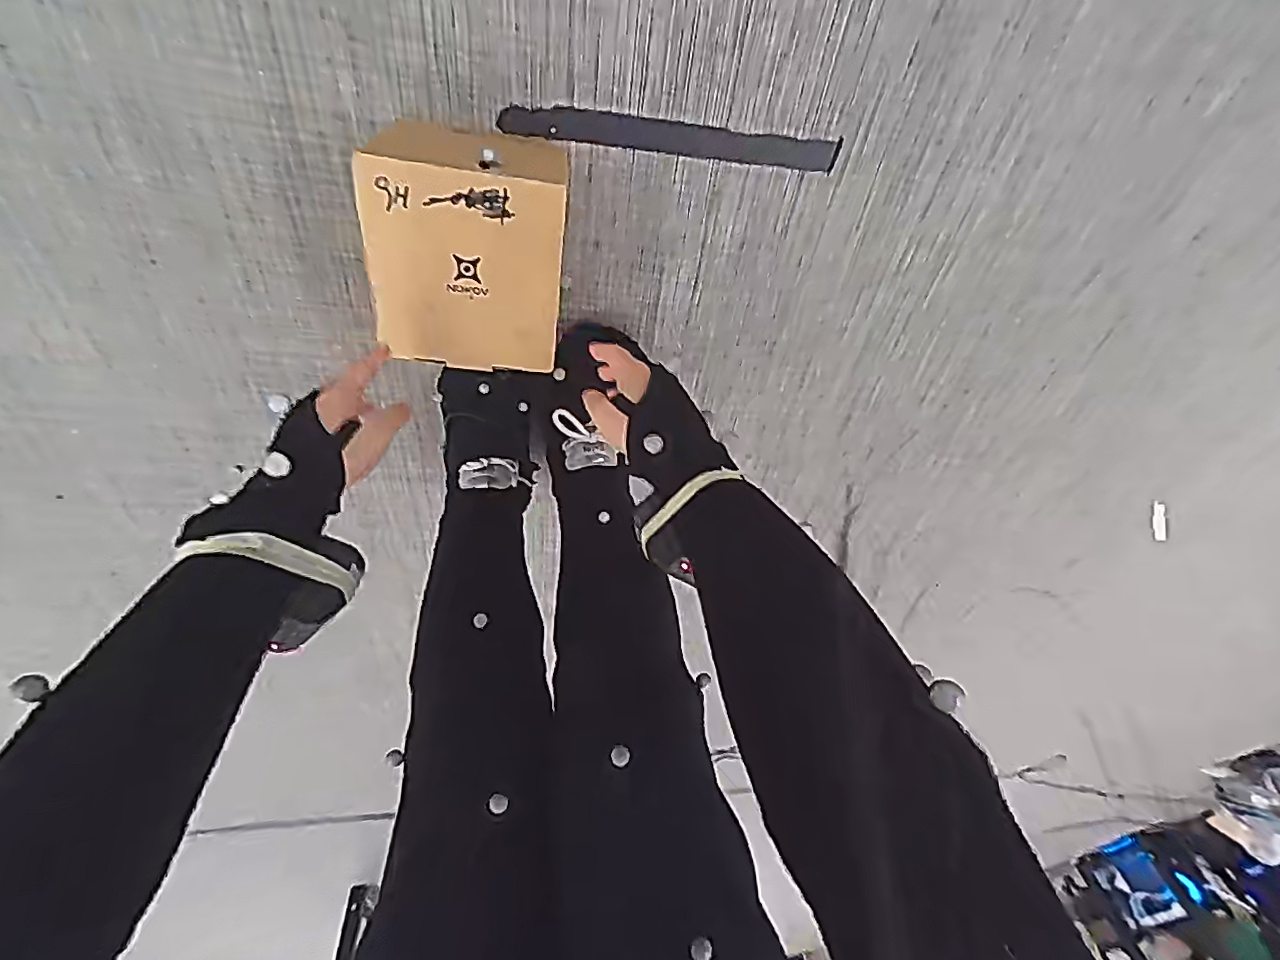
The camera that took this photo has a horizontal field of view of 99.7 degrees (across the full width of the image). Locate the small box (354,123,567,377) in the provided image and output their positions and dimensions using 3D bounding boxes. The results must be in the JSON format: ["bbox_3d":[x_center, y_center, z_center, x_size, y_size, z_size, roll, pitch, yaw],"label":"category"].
[{"bbox_3d":[-0.162,-0.227,0.539,0.168,0.176,0.179,3,131,-12],"label":"small box"}]
